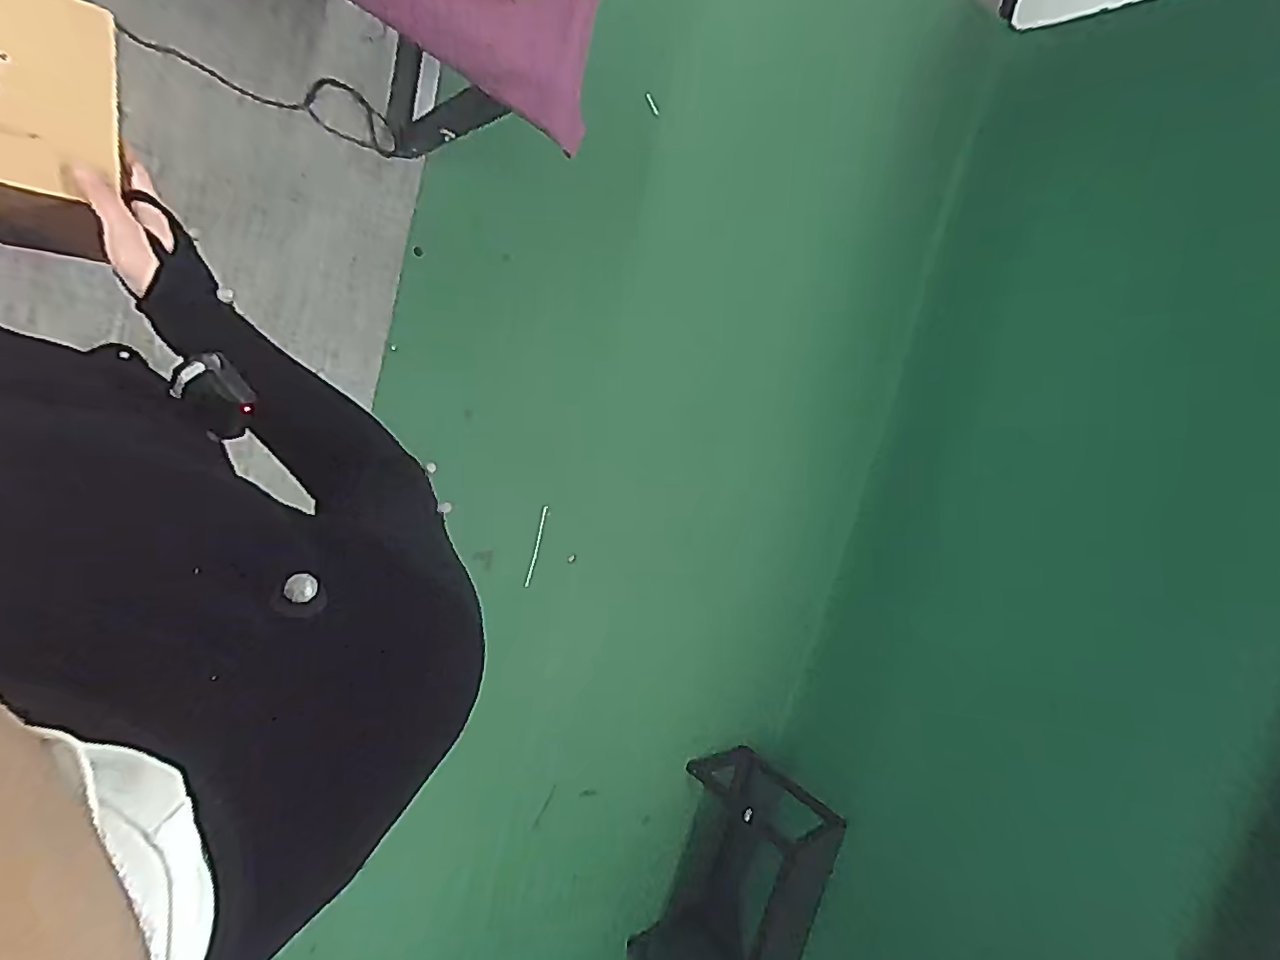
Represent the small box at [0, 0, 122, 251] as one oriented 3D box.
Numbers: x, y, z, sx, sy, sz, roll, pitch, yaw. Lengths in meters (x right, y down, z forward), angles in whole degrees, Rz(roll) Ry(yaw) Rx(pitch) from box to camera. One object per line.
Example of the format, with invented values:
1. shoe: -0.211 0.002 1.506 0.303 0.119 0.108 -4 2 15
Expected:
1. small box: -0.568 -0.326 0.466 0.168 0.176 0.179 -2 92 -46
